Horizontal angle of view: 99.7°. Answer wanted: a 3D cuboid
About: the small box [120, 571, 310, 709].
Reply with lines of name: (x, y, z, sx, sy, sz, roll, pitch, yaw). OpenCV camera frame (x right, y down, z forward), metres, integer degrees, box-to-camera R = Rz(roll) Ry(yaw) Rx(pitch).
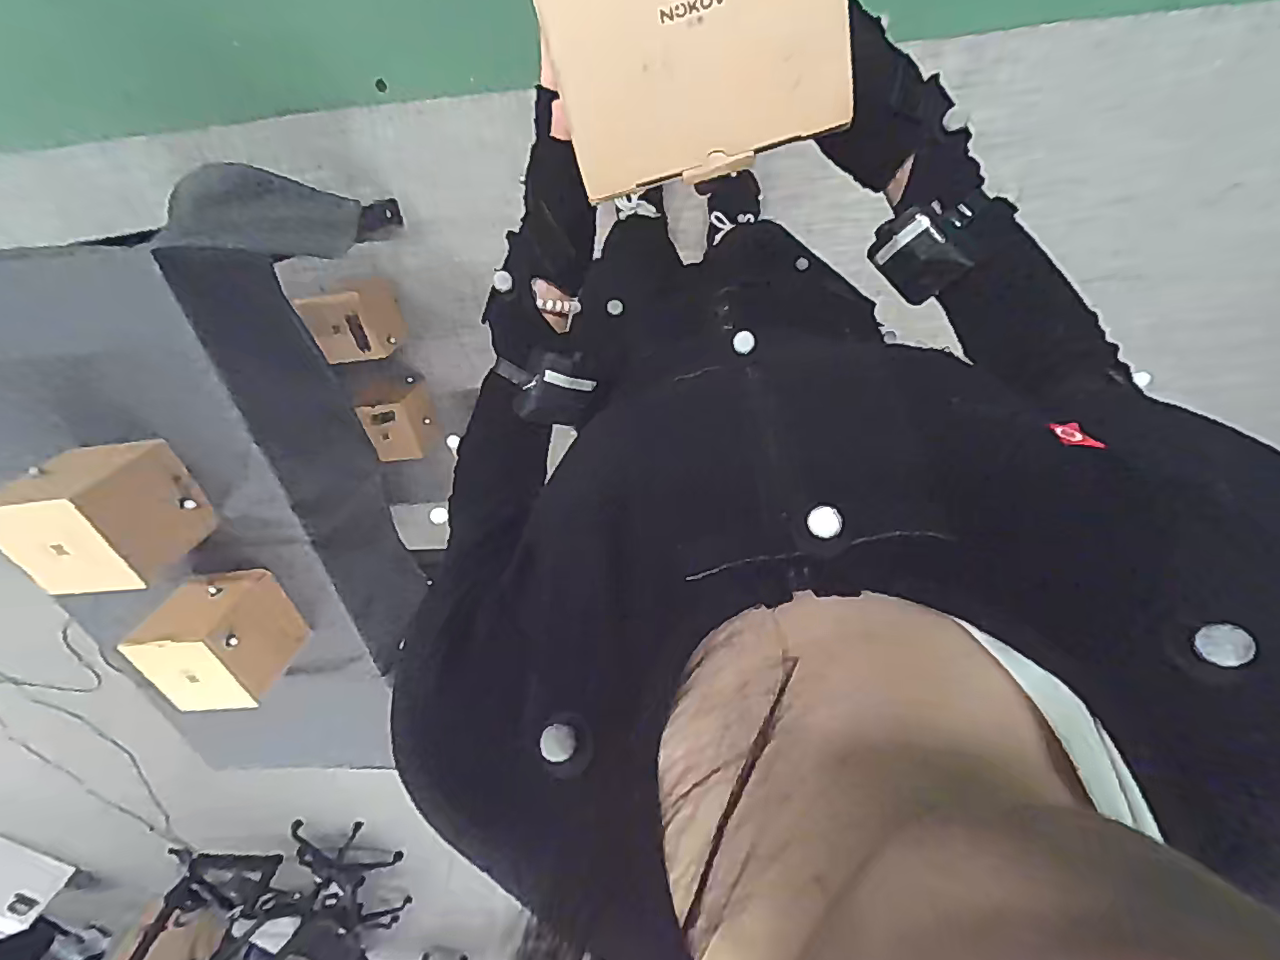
small box: (-0.748, 0.287, 0.978, 0.168, 0.176, 0.179, -6, 122, 9)

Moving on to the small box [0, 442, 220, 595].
small box: (-0.815, 0.056, 0.830, 0.179, 0.176, 0.168, -5, 124, 8)

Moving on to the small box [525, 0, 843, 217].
small box: (0.023, -0.296, 0.359, 0.168, 0.176, 0.179, -13, 120, 7)

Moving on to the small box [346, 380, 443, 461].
small box: (-0.688, -0.175, 1.538, 0.168, 0.176, 0.179, -4, 124, 7)
